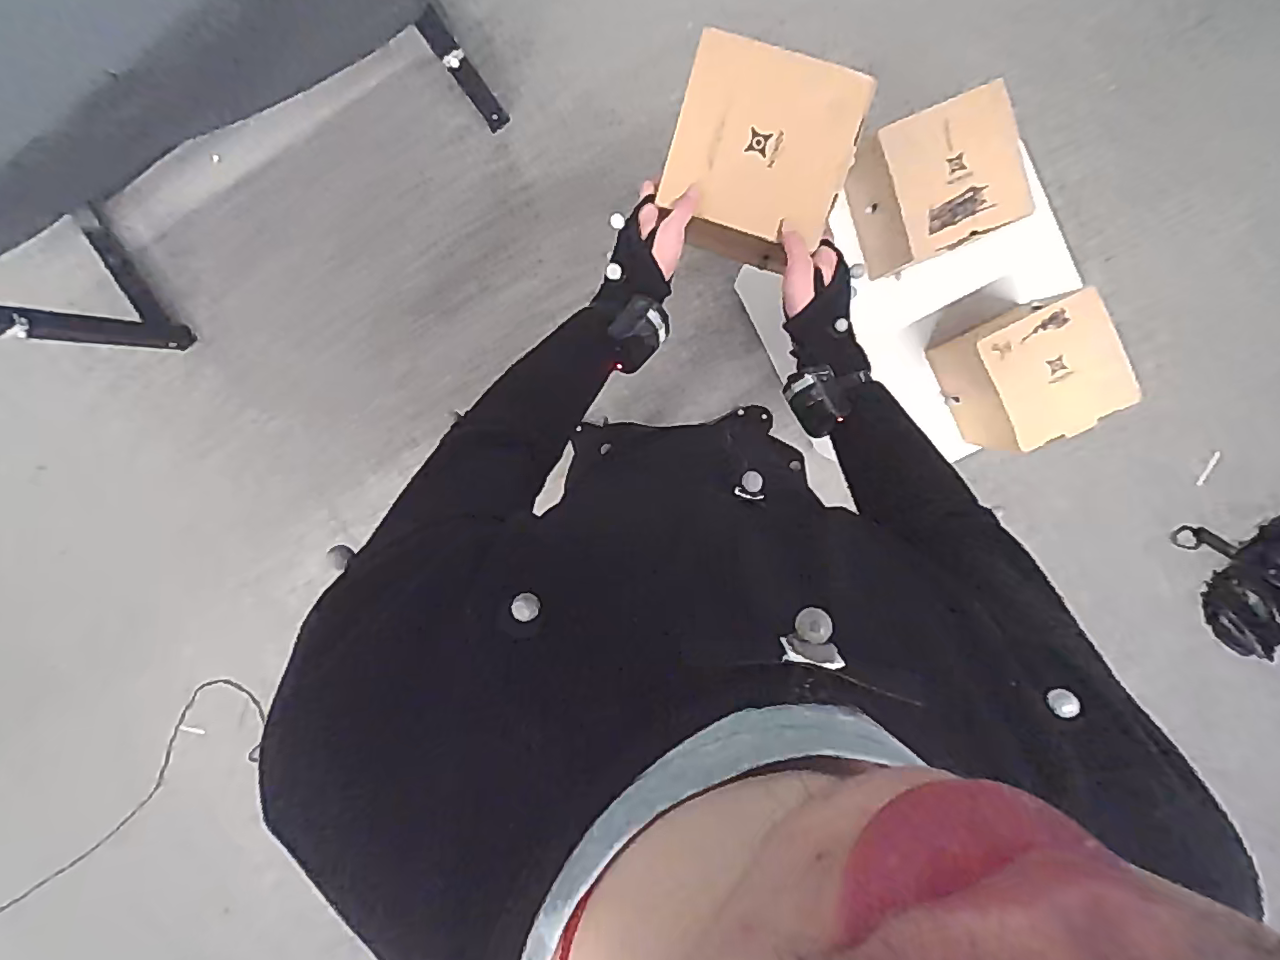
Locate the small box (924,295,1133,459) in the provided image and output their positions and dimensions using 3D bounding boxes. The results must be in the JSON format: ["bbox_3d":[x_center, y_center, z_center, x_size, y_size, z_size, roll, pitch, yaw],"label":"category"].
[{"bbox_3d":[0.569,-0.152,0.816,0.168,0.176,0.179,-26,97,6],"label":"small box"}]

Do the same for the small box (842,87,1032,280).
[{"bbox_3d":[0.415,-0.407,0.784,0.168,0.176,0.179,-20,97,5],"label":"small box"}]

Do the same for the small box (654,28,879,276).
[{"bbox_3d":[0.125,-0.338,0.598,0.179,0.176,0.168,17,102,2],"label":"small box"}]
